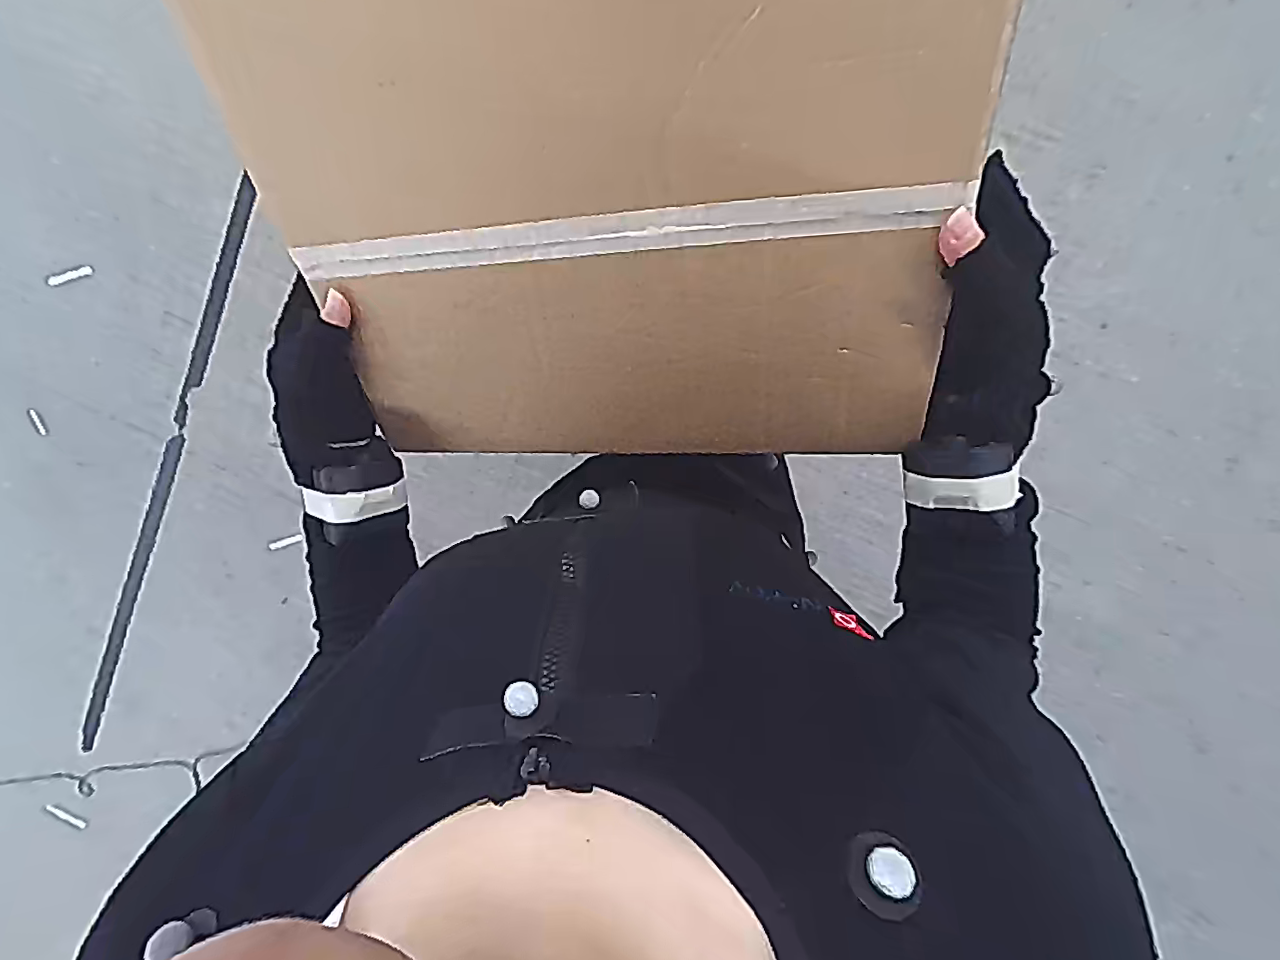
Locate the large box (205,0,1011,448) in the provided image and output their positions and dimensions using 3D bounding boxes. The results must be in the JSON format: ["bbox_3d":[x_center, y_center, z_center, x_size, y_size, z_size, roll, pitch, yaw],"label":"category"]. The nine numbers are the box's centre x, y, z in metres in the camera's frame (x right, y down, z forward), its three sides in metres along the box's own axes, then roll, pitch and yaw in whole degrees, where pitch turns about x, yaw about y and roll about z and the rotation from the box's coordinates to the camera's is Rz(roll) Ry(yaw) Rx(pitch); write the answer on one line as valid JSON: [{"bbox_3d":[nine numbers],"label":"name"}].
[{"bbox_3d":[0.003,-0.239,0.442,0.408,0.320,0.320,1,130,12],"label":"large box"}]
